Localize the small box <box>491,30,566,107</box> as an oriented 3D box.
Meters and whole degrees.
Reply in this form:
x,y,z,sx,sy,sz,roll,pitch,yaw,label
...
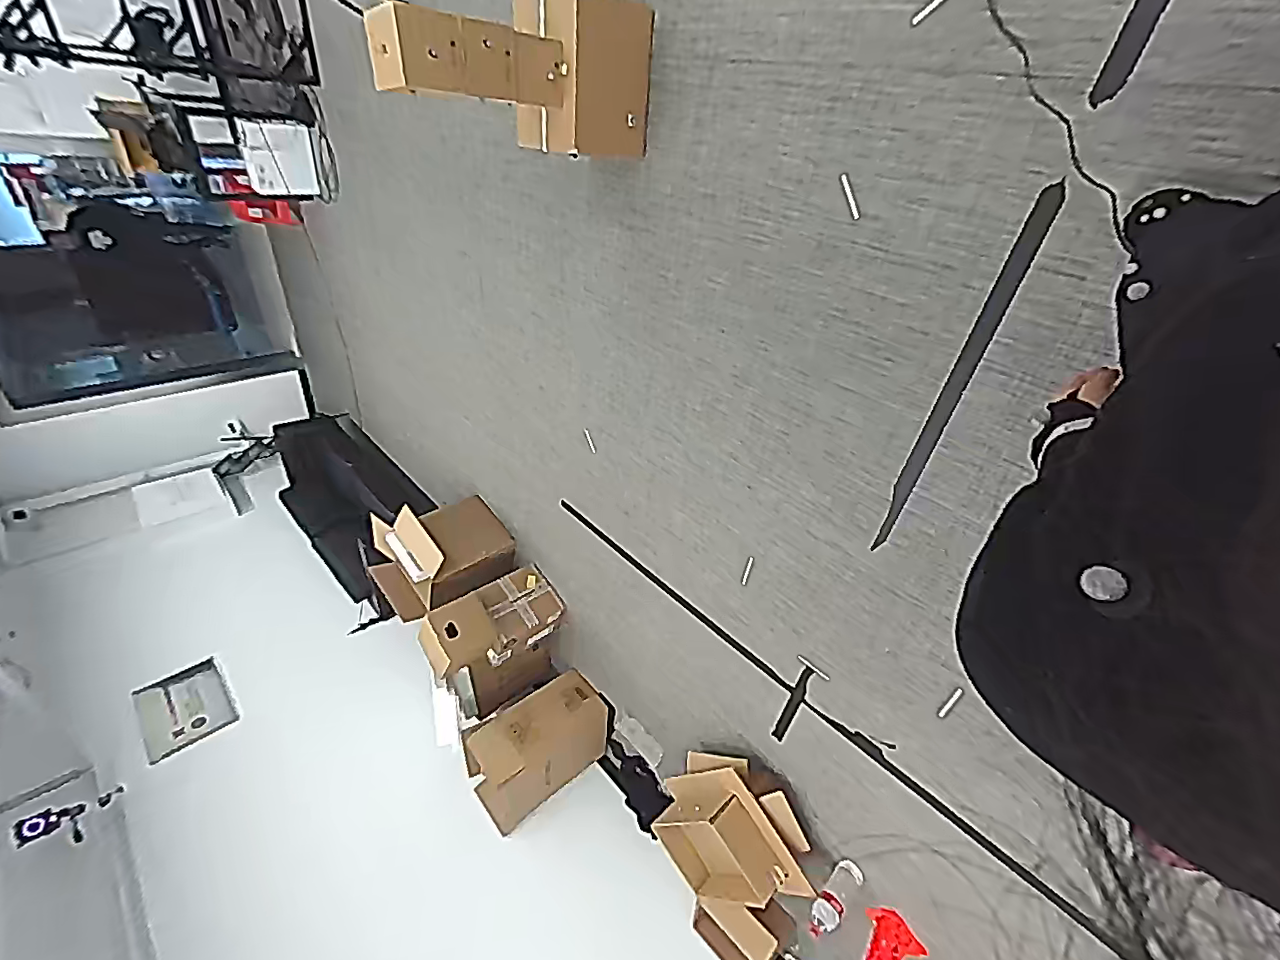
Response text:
x,y,z,sx,sy,sz,roll,pitch,yaw,label
-0.340,-1.212,1.599,0.179,0.176,0.168,32,132,34,small box

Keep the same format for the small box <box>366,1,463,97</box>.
x,y,z,sx,sy,sz,roll,pitch,yaw,label
-0.572,-1.102,1.396,0.179,0.176,0.168,27,127,38,small box

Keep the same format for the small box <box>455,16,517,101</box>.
x,y,z,sx,sy,sz,roll,pitch,yaw,label
-0.451,-1.159,1.493,0.179,0.176,0.168,32,130,36,small box
